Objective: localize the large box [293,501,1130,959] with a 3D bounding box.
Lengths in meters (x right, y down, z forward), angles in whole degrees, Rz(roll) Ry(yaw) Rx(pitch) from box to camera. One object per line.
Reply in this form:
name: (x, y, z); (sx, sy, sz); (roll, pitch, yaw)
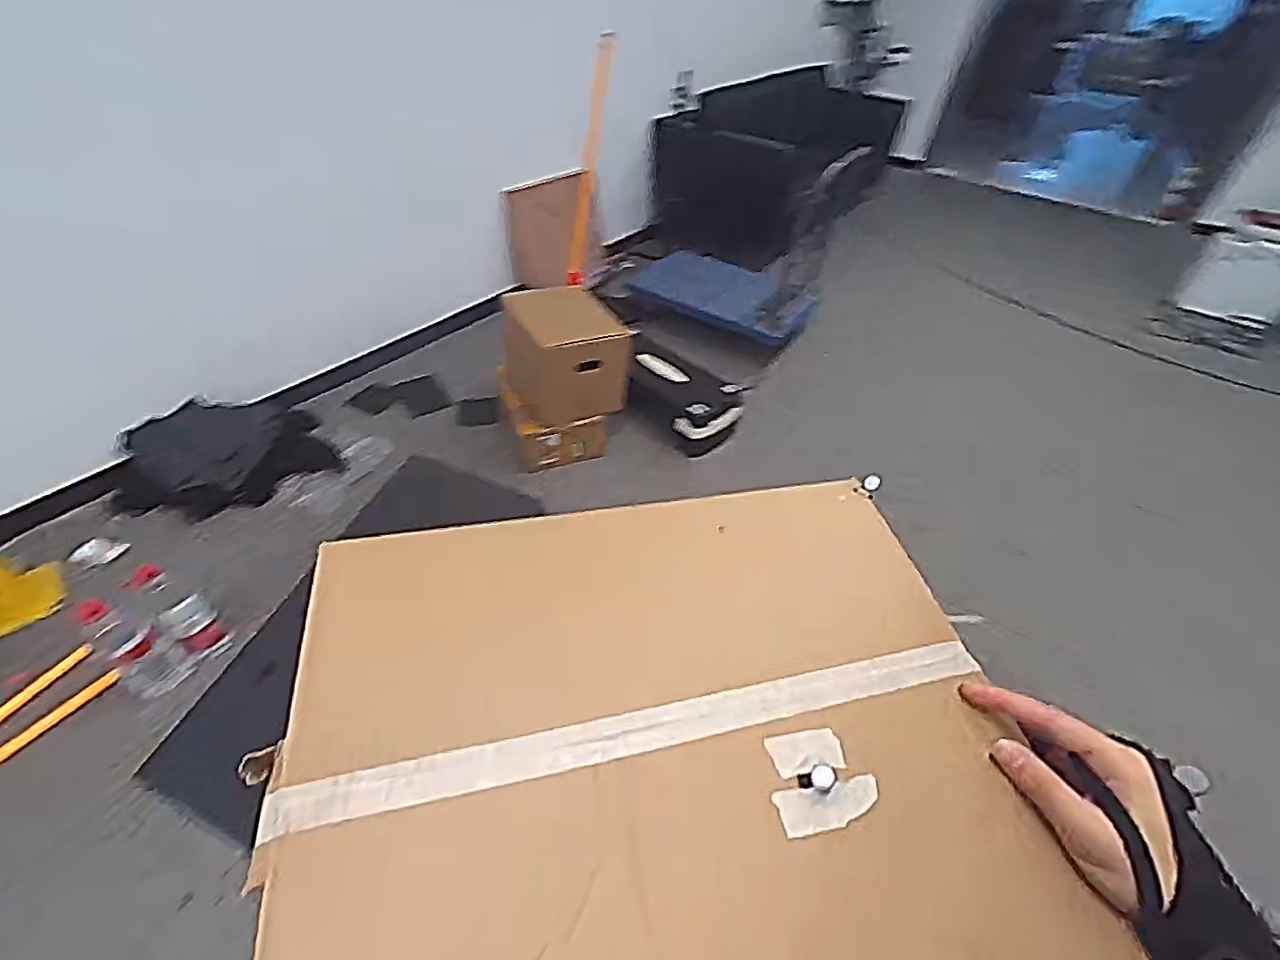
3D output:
large box: (0.007, 0.249, 0.428); (0.408, 0.320, 0.320); (-5, 51, -14)
